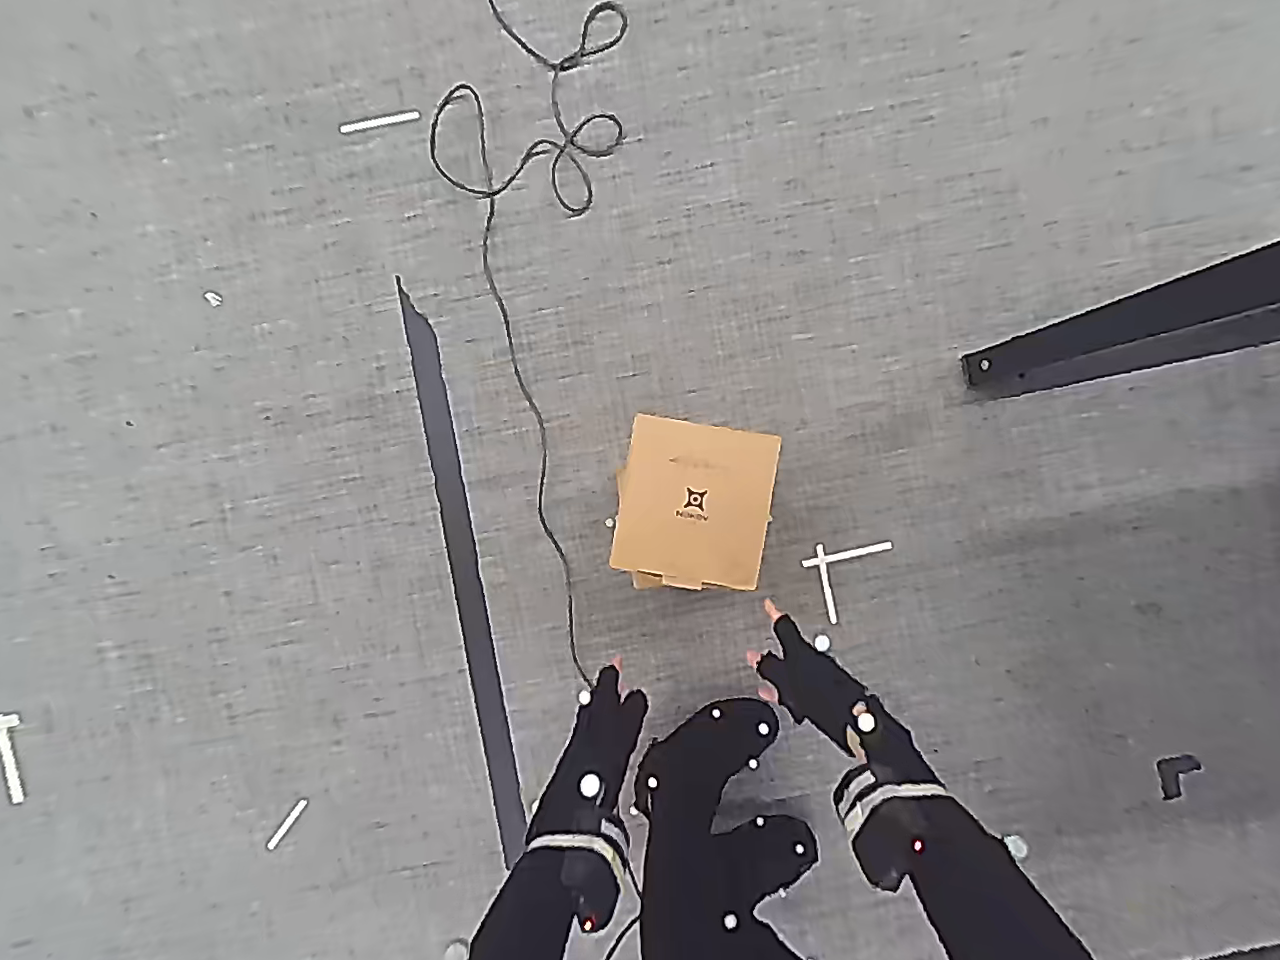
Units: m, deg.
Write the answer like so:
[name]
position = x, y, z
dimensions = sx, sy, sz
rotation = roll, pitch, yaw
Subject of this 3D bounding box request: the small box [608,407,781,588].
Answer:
[small box]
position = 0.060, 0.020, 0.668
dimensions = 0.168, 0.176, 0.179
rotation = 10, 89, 0
